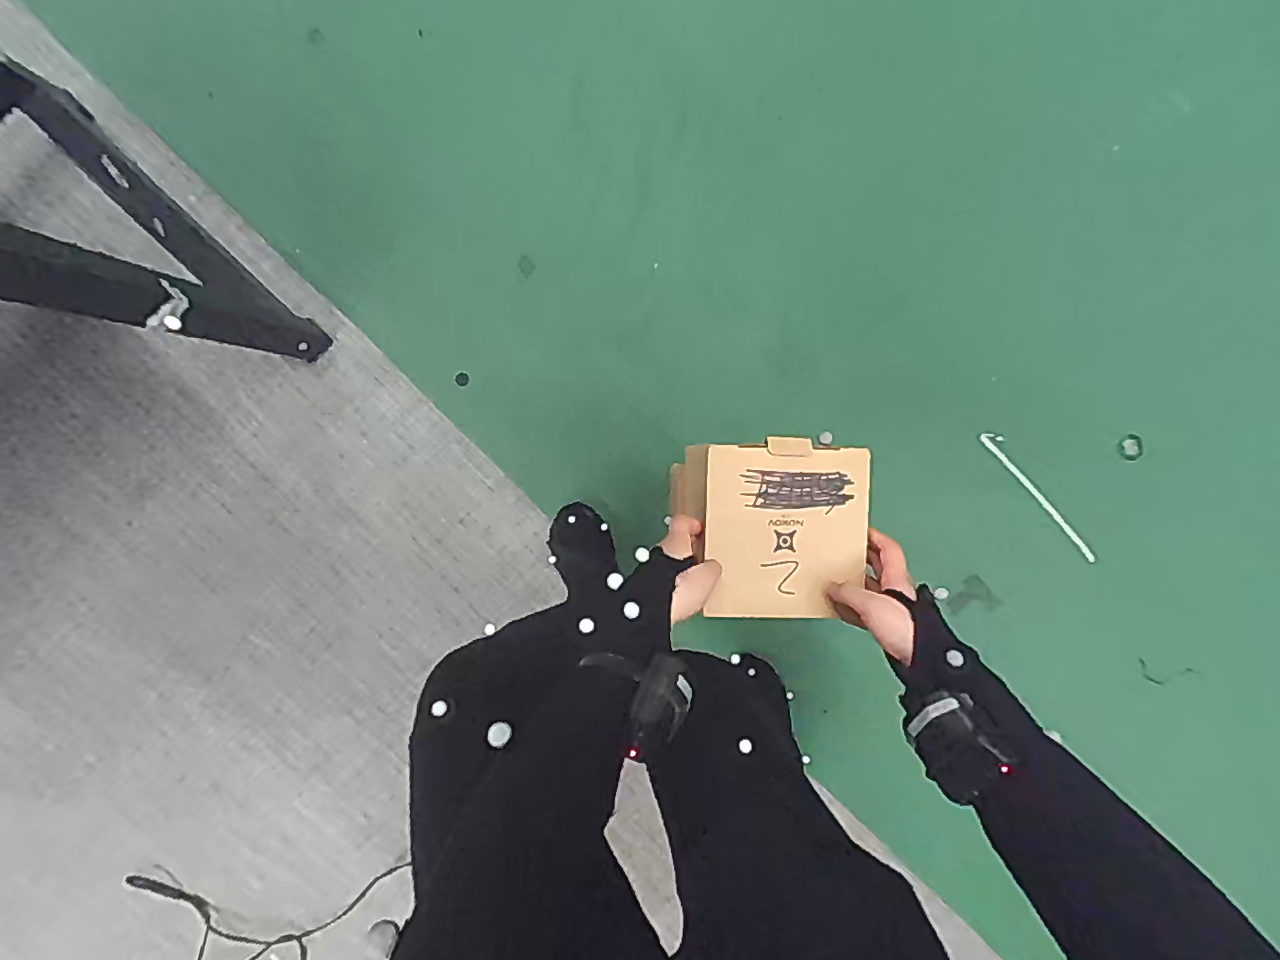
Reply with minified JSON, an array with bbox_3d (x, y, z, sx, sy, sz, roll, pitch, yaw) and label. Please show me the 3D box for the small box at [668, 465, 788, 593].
[{"bbox_3d":[0.134,0.072,0.879,0.168,0.176,0.179,1,96,0],"label":"small box"}]
